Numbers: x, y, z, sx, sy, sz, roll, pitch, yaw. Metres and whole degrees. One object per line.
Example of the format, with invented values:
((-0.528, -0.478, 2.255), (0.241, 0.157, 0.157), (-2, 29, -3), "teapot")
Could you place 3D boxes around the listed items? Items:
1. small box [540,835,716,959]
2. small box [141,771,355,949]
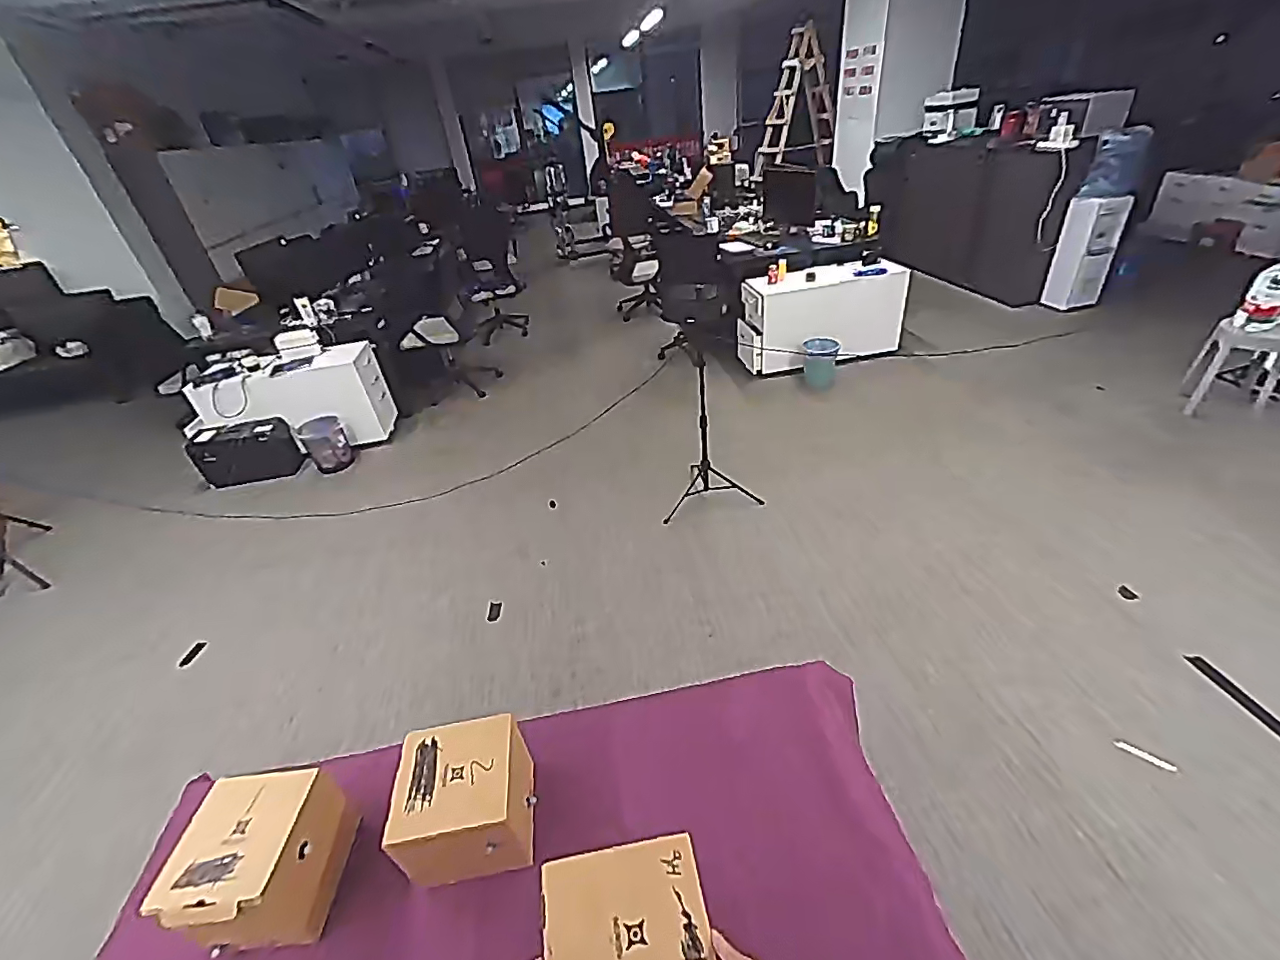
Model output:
((-0.010, 0.536, 0.604), (0.179, 0.176, 0.168), (-8, 38, -7), "small box")
((-0.565, 0.573, 0.814), (0.168, 0.176, 0.179), (-6, 34, 1), "small box")
